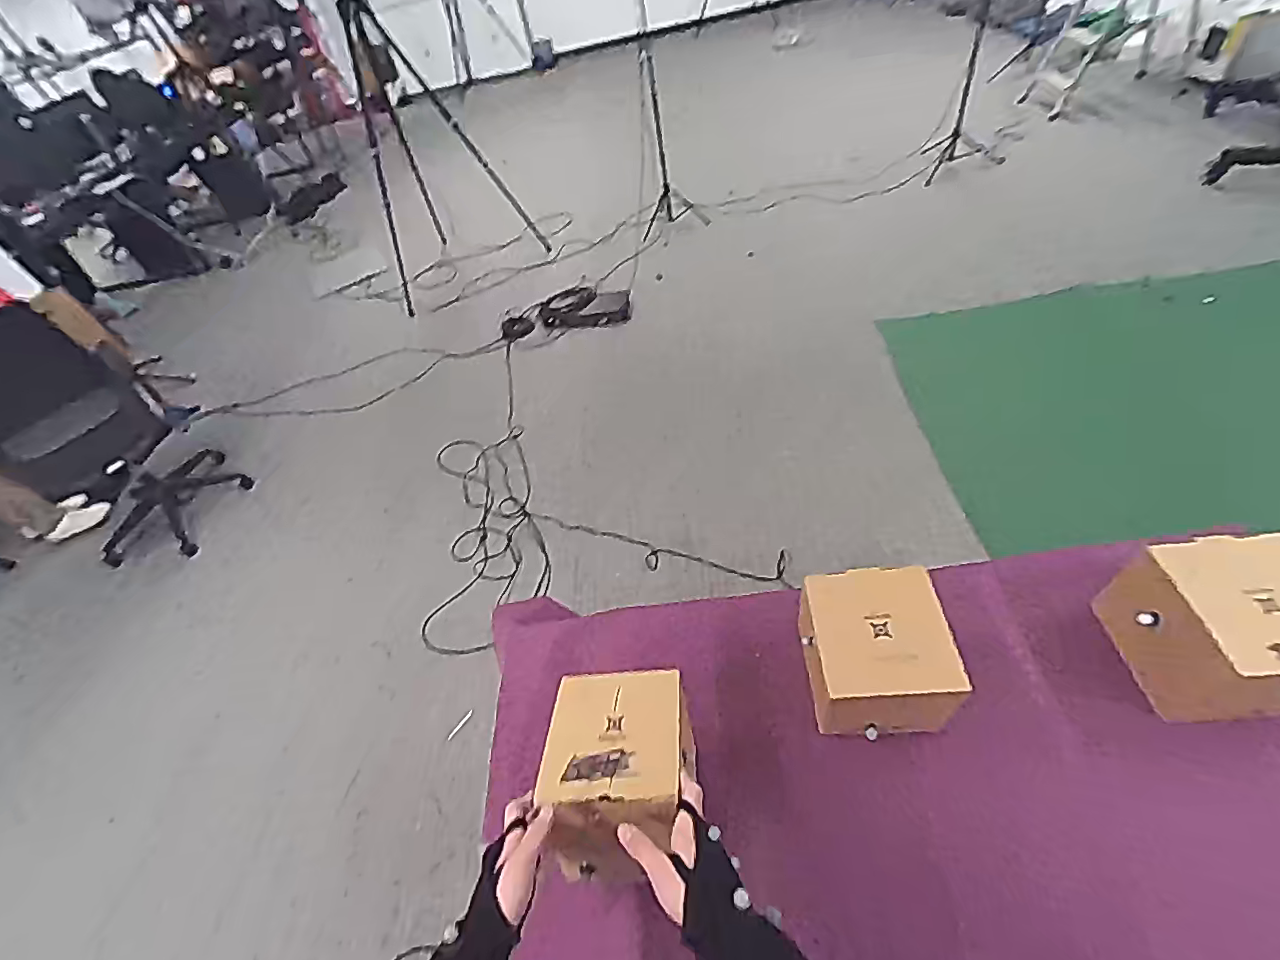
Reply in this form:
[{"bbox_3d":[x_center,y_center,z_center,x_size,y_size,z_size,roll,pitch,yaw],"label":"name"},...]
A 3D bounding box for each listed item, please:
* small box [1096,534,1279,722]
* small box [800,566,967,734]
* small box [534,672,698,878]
[{"bbox_3d":[0.755,0.195,0.705,0.168,0.176,0.179,-8,48,8],"label":"small box"},{"bbox_3d":[0.325,0.243,0.766,0.168,0.176,0.179,-6,49,9],"label":"small box"},{"bbox_3d":[-0.018,0.376,0.691,0.168,0.176,0.179,-7,28,8],"label":"small box"}]
